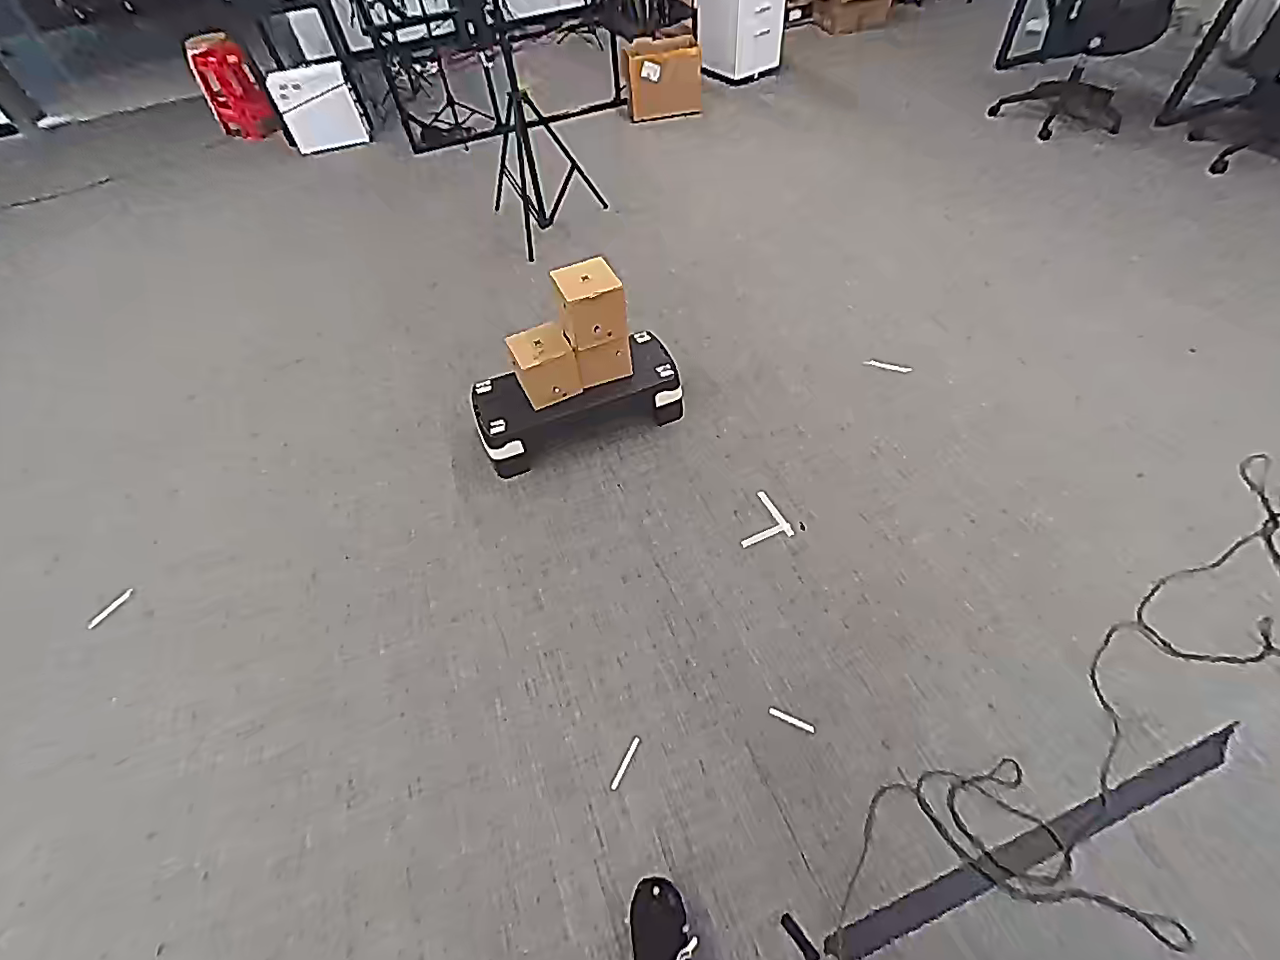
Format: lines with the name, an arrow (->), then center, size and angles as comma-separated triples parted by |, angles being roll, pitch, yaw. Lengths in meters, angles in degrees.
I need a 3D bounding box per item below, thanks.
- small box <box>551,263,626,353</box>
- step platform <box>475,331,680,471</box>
small box -> -0.151, -0.506, 1.601 | 0.168, 0.176, 0.179 | -22, 54, -12
step platform -> -0.209, -0.281, 1.858 | 0.684, 0.204, 0.286 | -21, 53, -10
